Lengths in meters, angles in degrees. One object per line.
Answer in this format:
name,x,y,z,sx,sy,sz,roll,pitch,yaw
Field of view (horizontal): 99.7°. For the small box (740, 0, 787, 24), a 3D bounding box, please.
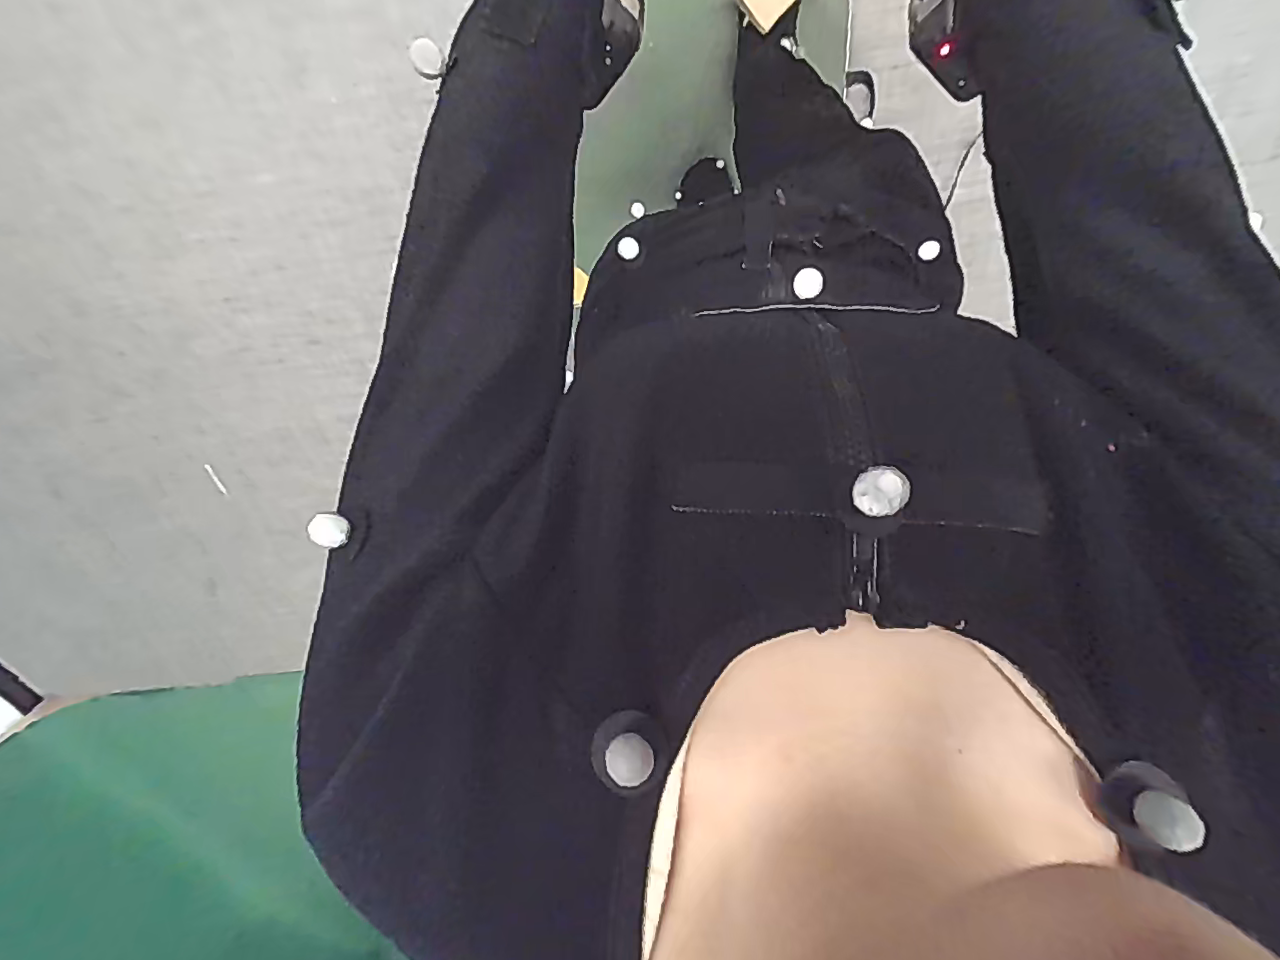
small box,0.092,-0.482,0.377,0.168,0.176,0.179,-34,126,31
